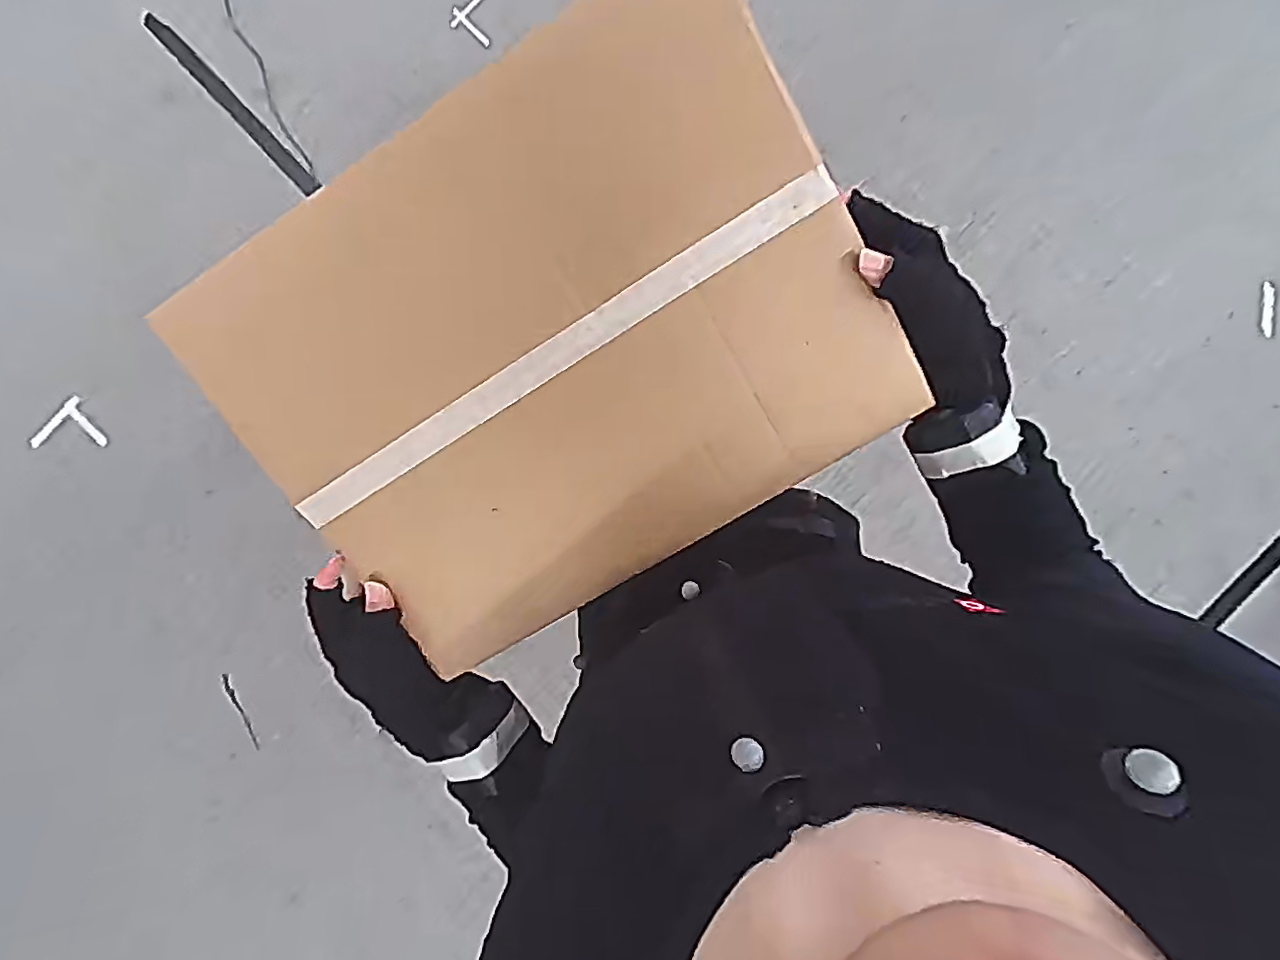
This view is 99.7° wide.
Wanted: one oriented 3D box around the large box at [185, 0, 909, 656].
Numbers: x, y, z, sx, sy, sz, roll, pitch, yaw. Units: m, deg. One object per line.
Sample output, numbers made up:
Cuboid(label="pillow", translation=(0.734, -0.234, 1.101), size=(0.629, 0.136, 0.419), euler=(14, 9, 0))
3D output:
Cuboid(label="large box", translation=(-0.060, -0.121, 0.508), size=(0.408, 0.320, 0.320), euler=(-30, 104, 7))
